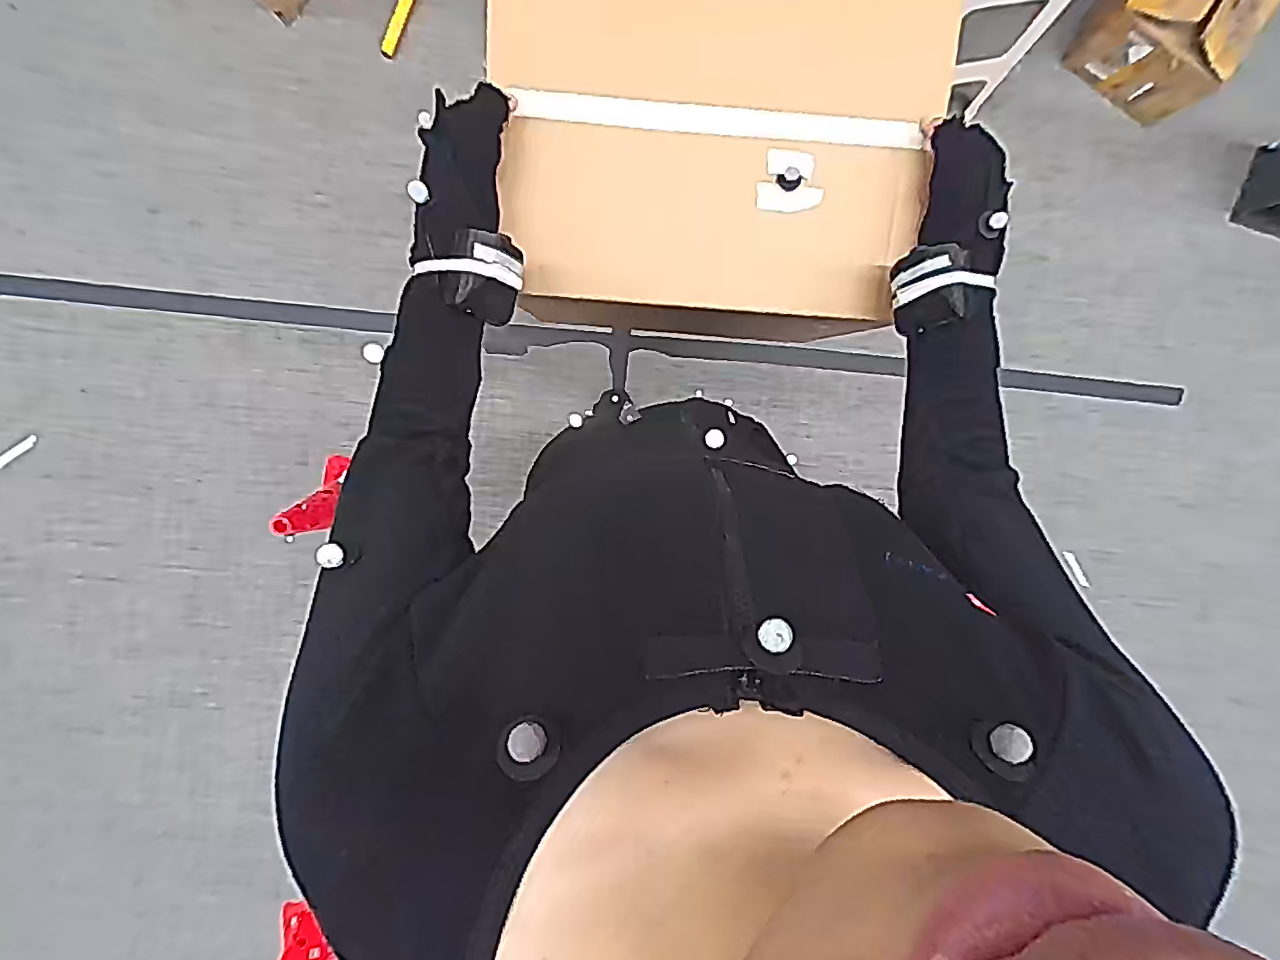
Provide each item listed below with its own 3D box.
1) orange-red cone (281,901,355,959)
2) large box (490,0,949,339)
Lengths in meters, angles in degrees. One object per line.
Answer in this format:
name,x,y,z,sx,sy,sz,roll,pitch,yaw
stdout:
orange-red cone,-0.926,1.345,1.406,0.198,0.360,0.199,3,98,-3
large box,0.059,-0.344,0.629,0.408,0.320,0.320,3,101,-3
